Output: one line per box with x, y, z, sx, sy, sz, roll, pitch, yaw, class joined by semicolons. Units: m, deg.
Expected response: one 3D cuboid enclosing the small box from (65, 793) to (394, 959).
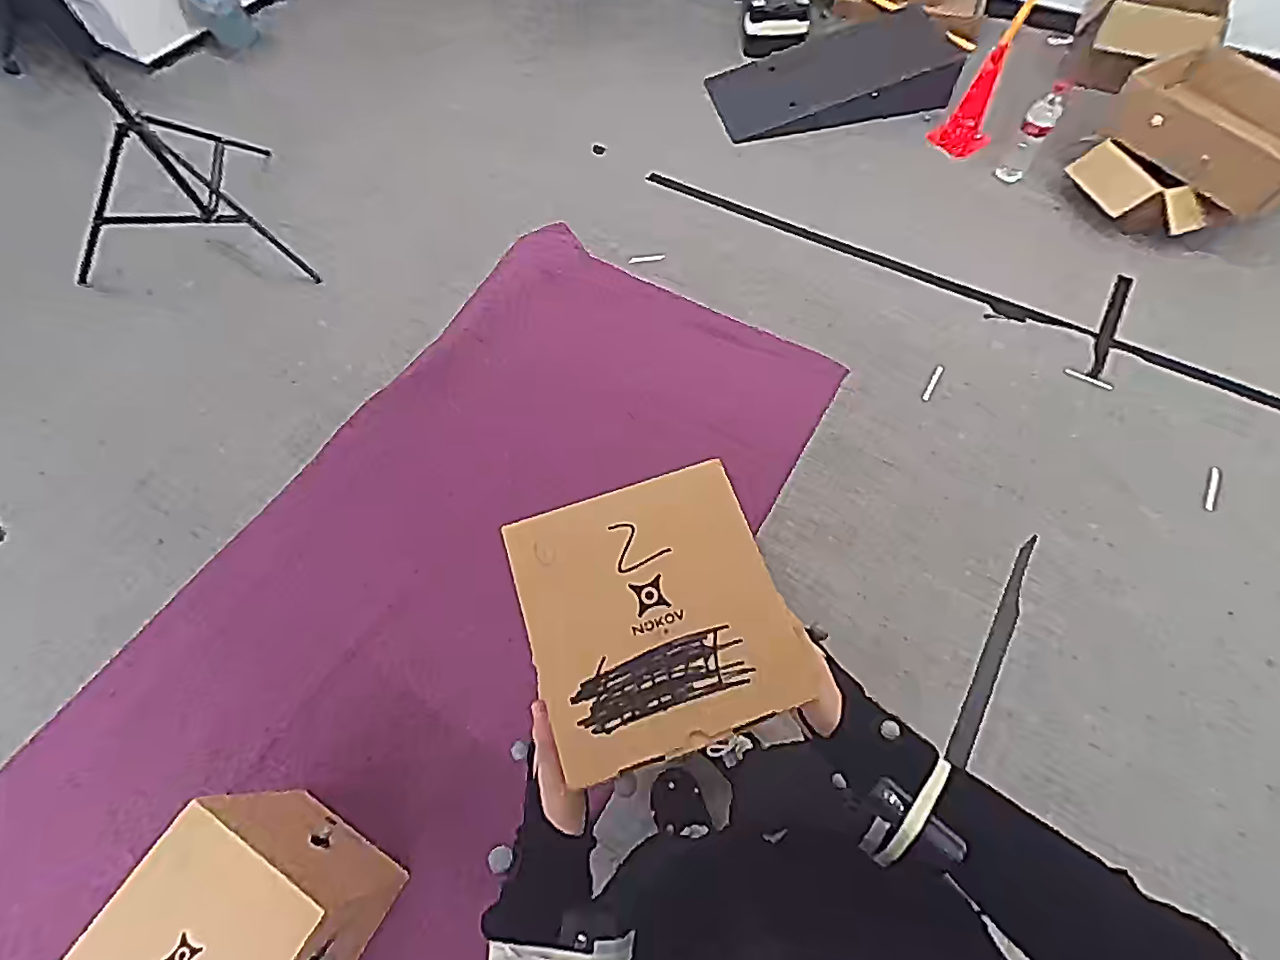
-0.361;0.418;0.500;0.168;0.176;0.179;25;67;15;small box
